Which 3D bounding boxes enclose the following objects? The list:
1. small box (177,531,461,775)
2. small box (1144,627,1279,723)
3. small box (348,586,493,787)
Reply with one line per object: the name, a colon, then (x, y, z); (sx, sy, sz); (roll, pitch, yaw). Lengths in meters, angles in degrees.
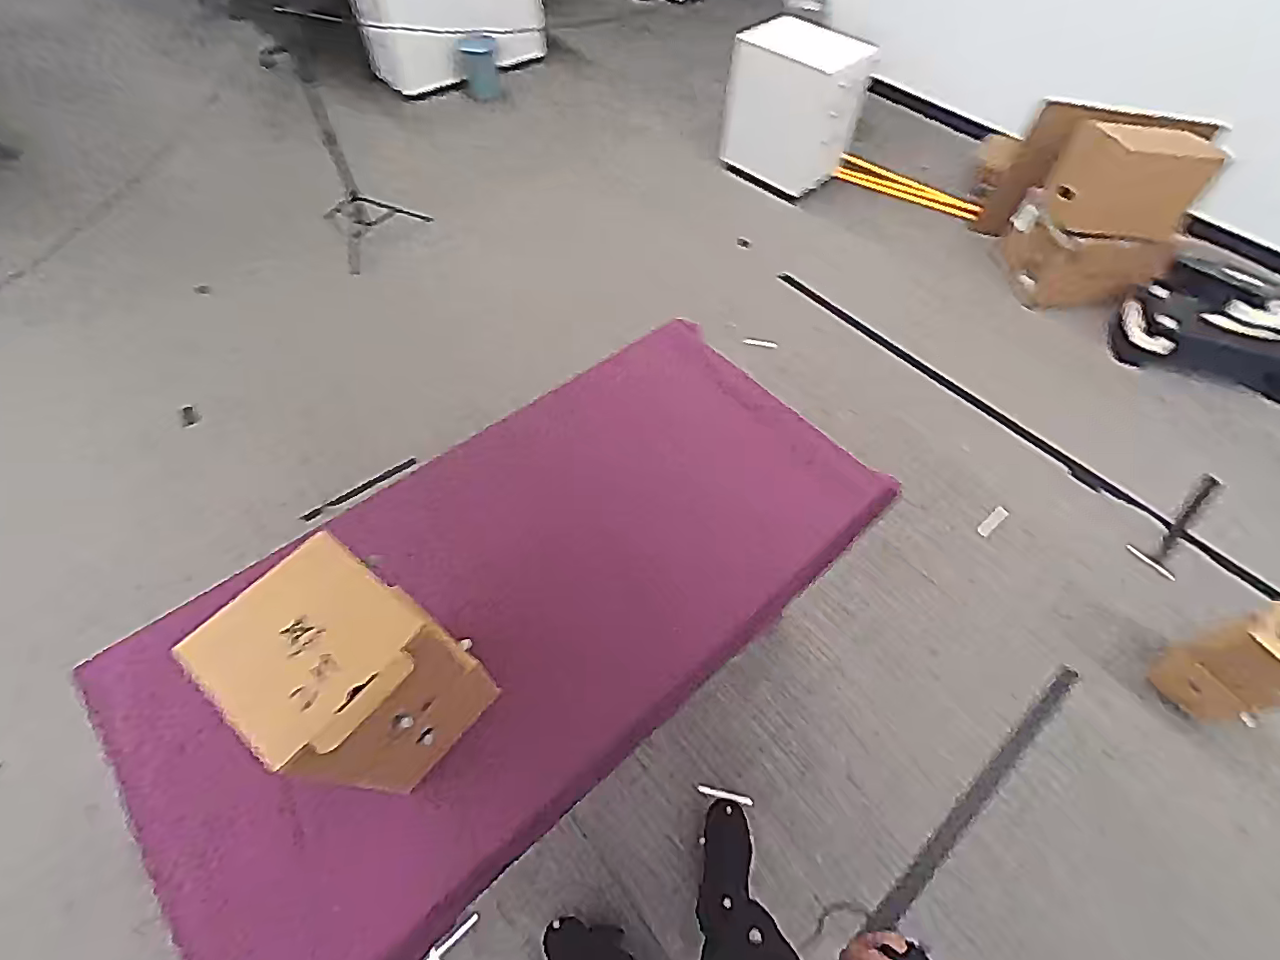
small box: (-0.329, 0.195, 0.590); (0.179, 0.176, 0.168); (34, 63, 18)
small box: (1.568, 0.544, 1.498); (0.179, 0.176, 0.168); (-31, 64, -20)
small box: (-0.324, 0.283, 0.730); (0.168, 0.176, 0.179); (35, 62, 19)
